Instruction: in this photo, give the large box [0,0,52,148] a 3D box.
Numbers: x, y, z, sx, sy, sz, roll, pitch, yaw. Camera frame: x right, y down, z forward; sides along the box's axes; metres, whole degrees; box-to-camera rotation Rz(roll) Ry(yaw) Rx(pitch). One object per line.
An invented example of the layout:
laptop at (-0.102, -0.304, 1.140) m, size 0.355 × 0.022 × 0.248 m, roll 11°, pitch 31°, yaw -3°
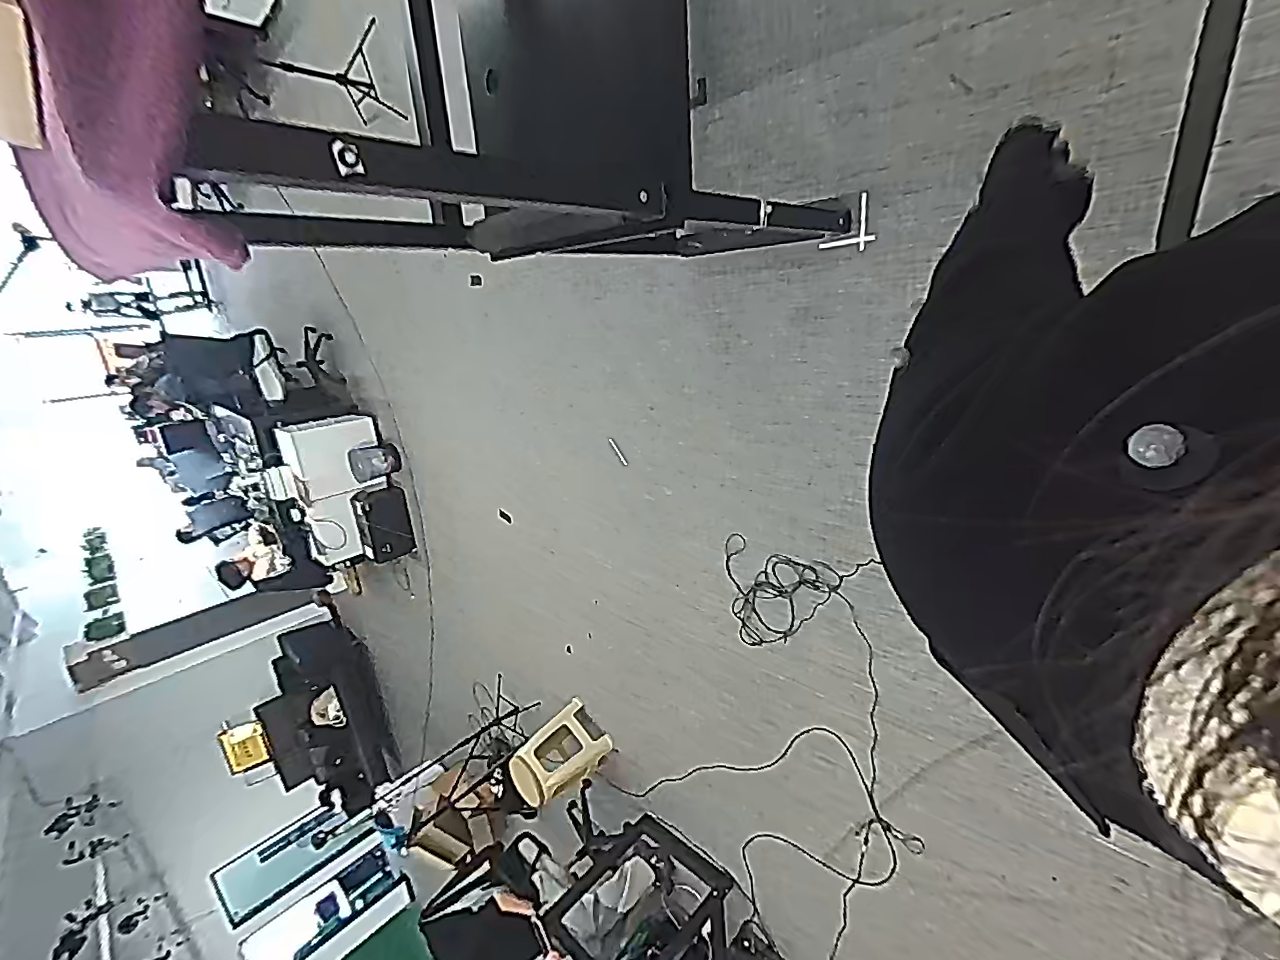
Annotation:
large box at (-0.727, -0.492, 0.405) m, size 0.408 × 0.320 × 0.320 m, roll 11°, pitch 113°, yaw 44°
